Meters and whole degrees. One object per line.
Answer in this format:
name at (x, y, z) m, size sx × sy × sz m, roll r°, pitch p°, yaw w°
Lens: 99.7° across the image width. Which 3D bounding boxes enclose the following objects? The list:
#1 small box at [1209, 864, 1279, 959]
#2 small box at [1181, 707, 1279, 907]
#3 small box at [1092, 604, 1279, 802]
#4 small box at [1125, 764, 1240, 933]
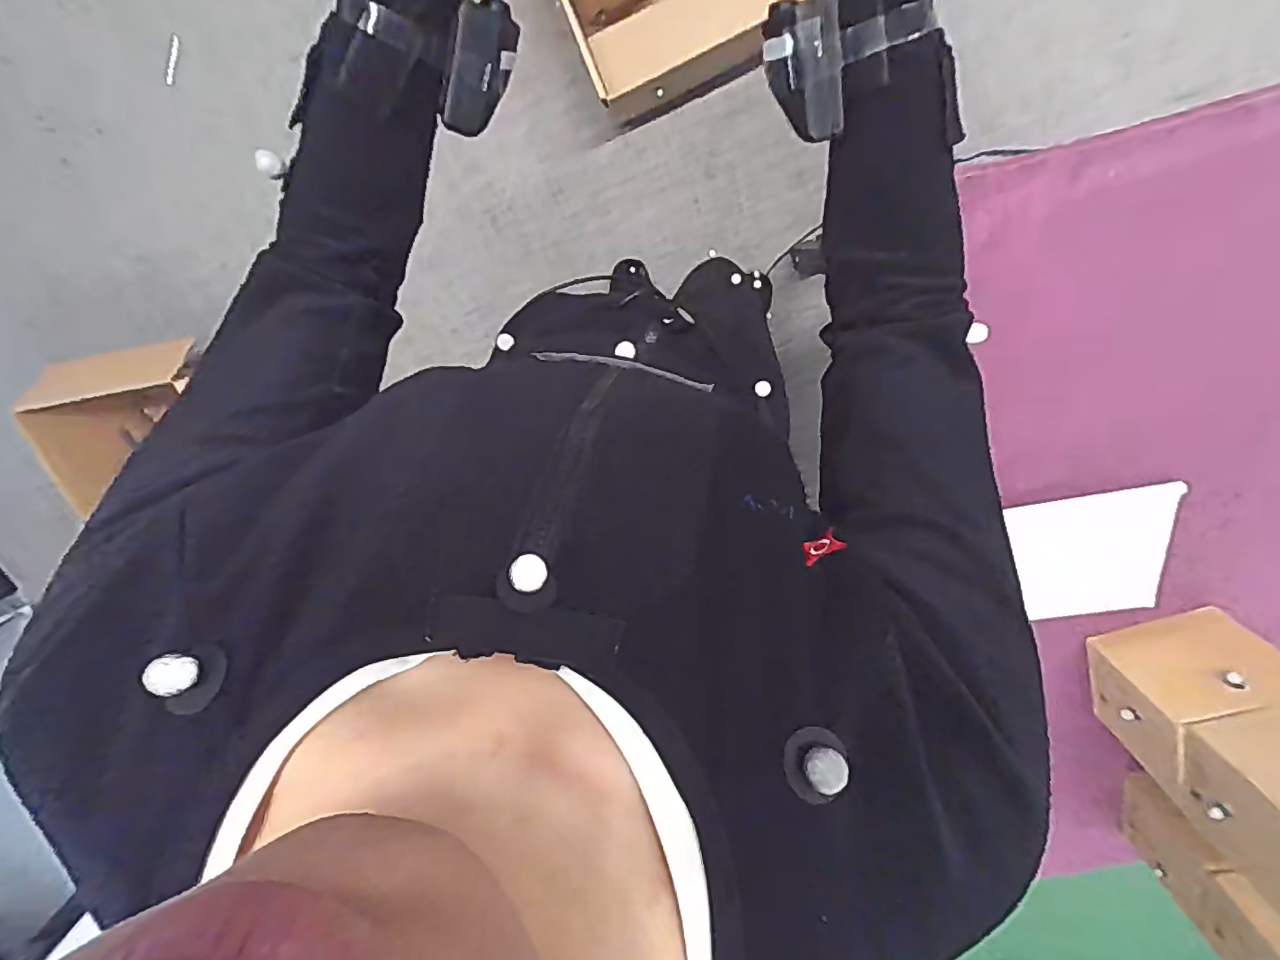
small box at (0.915, 0.629, 0.709) m, size 0.179 × 0.176 × 0.168 m, roll -17°, pitch 113°, yaw 11°
small box at (0.777, 0.370, 0.605) m, size 0.179 × 0.176 × 0.168 m, roll -17°, pitch 111°, yaw 9°
small box at (0.777, 0.304, 0.756) m, size 0.179 × 0.176 × 0.168 m, roll -20°, pitch 111°, yaw 10°
small box at (0.925, 0.569, 0.862) m, size 0.179 × 0.176 × 0.168 m, roll -17°, pitch 112°, yaw 10°
